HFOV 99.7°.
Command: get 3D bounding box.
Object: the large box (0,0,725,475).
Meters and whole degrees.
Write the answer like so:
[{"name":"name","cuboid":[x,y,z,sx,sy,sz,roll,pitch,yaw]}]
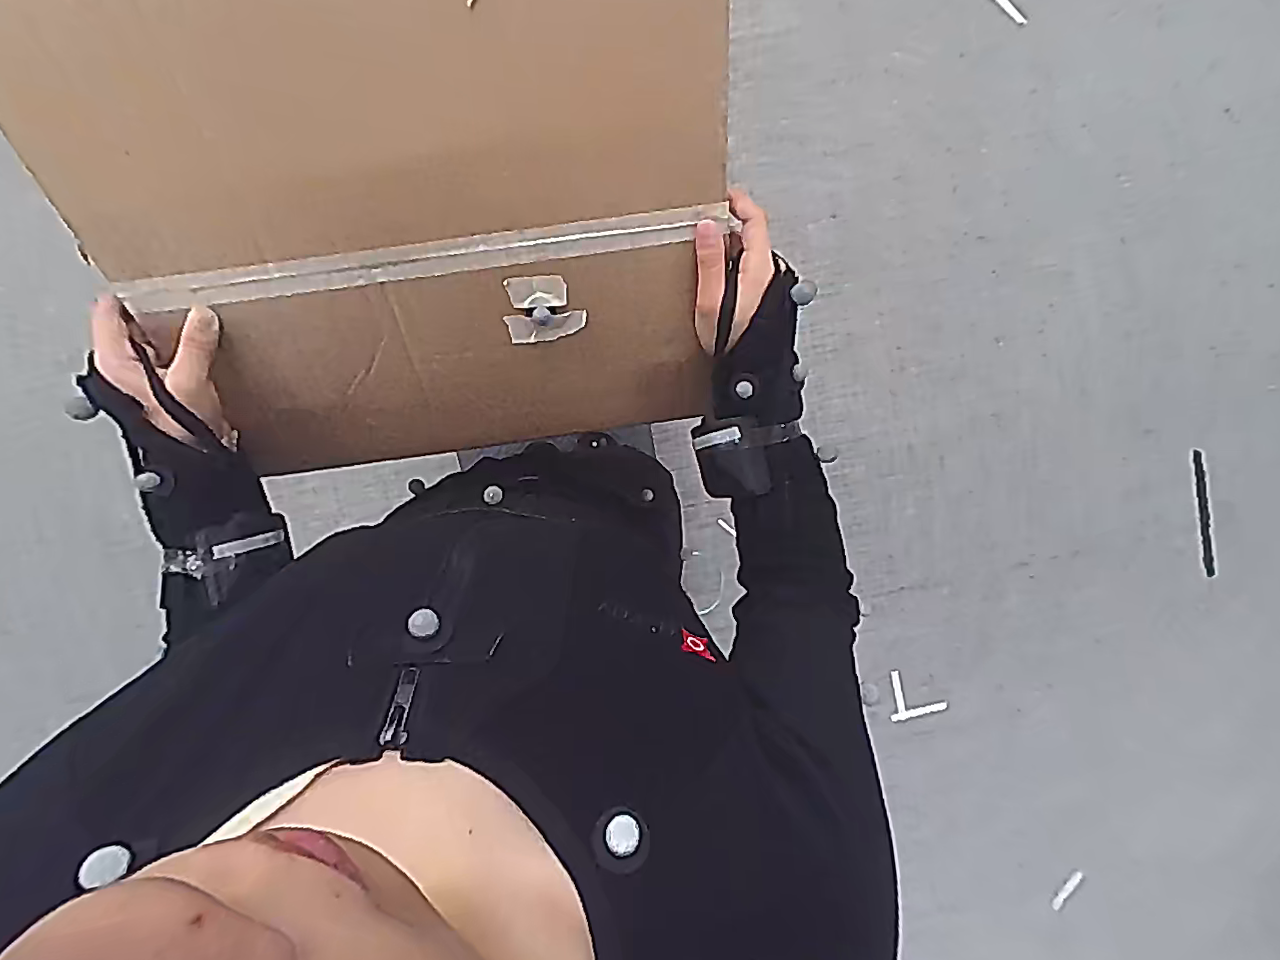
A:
[{"name":"large box","cuboid":[-0.158,-0.244,0.491,0.408,0.320,0.320,-9,130,-3]}]
